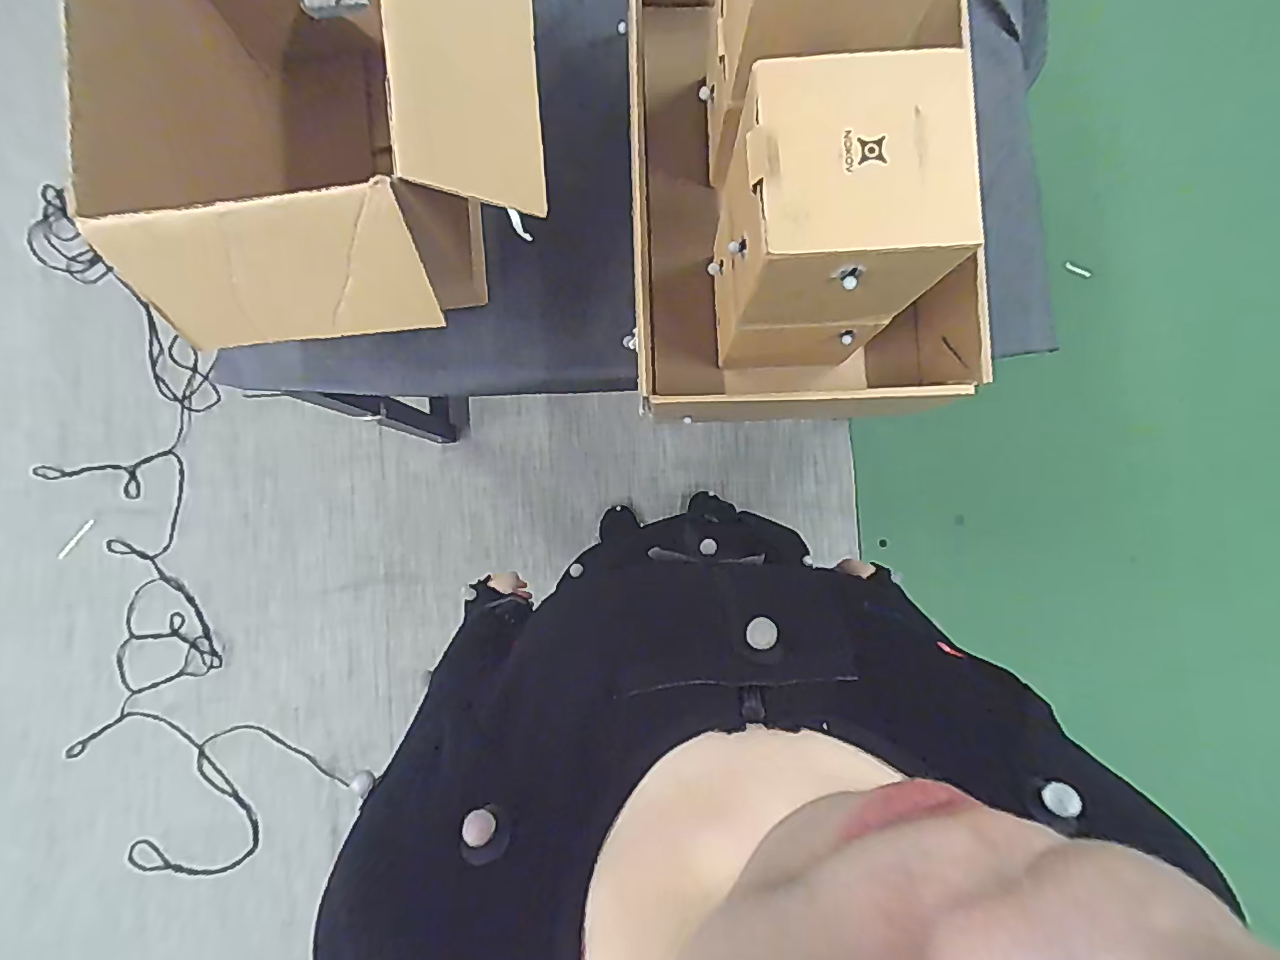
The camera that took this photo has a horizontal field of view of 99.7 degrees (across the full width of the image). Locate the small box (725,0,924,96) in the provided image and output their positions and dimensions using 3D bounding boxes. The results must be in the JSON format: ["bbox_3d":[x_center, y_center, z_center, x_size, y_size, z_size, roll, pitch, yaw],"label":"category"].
[{"bbox_3d":[0.176,-0.518,0.528,0.168,0.176,0.179,-1,90,0],"label":"small box"}]

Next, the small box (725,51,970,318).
[{"bbox_3d":[0.179,-0.264,0.522,0.179,0.176,0.168,-3,88,0],"label":"small box"}]
